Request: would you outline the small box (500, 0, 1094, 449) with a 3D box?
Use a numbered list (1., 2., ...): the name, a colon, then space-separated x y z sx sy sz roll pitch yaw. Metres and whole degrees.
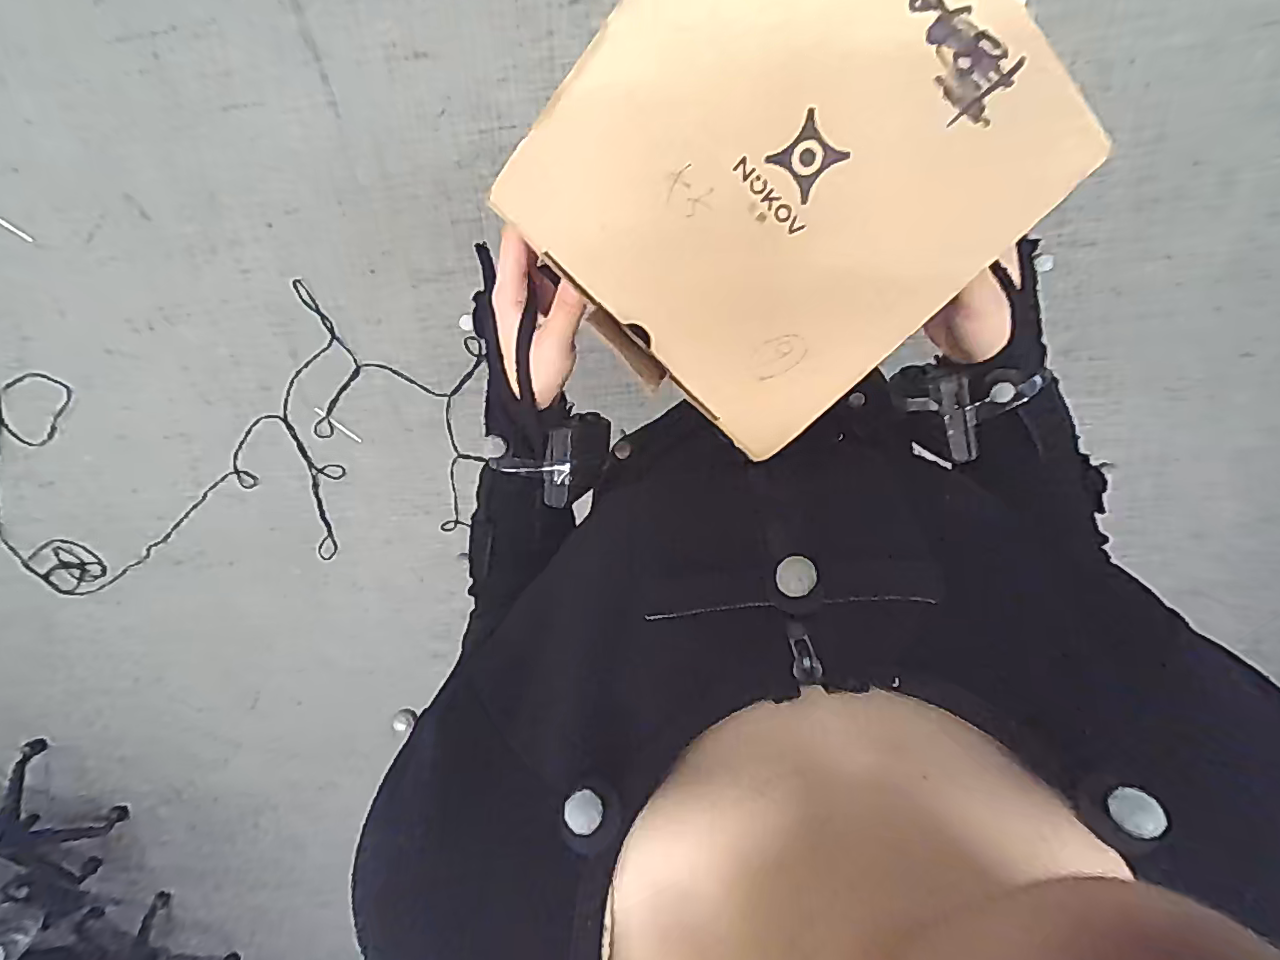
1. small box: 0.062 -0.152 0.288 0.168 0.176 0.179 42 110 -14
